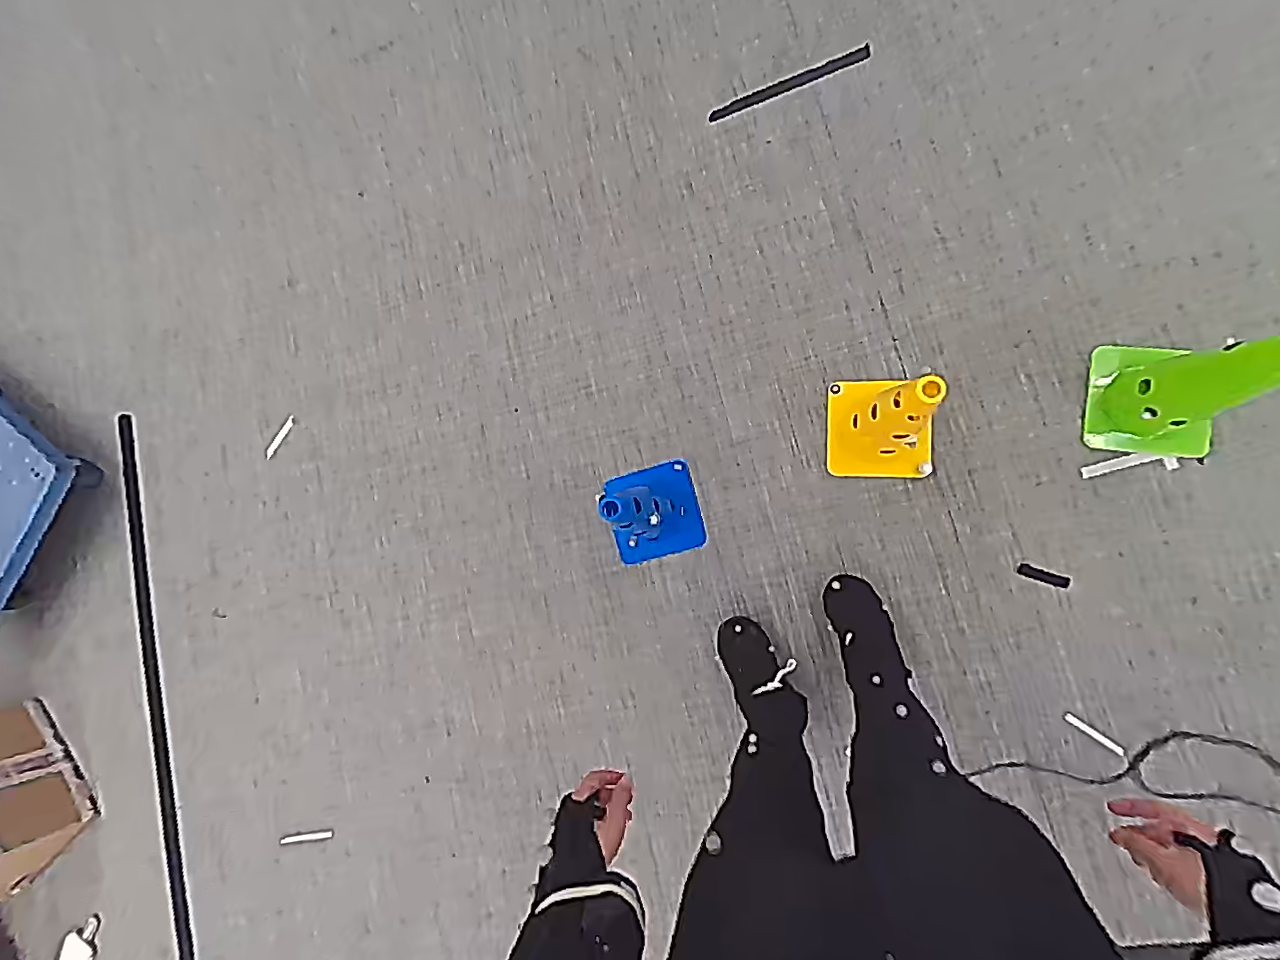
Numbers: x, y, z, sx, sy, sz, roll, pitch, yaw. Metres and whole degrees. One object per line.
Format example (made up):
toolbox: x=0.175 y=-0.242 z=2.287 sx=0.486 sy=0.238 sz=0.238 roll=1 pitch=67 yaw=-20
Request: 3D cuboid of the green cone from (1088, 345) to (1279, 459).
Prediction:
green cone: x=0.913 y=-0.156 z=0.835 sx=0.200 sy=0.368 sz=0.202 roll=7 pitch=88 yaw=14
